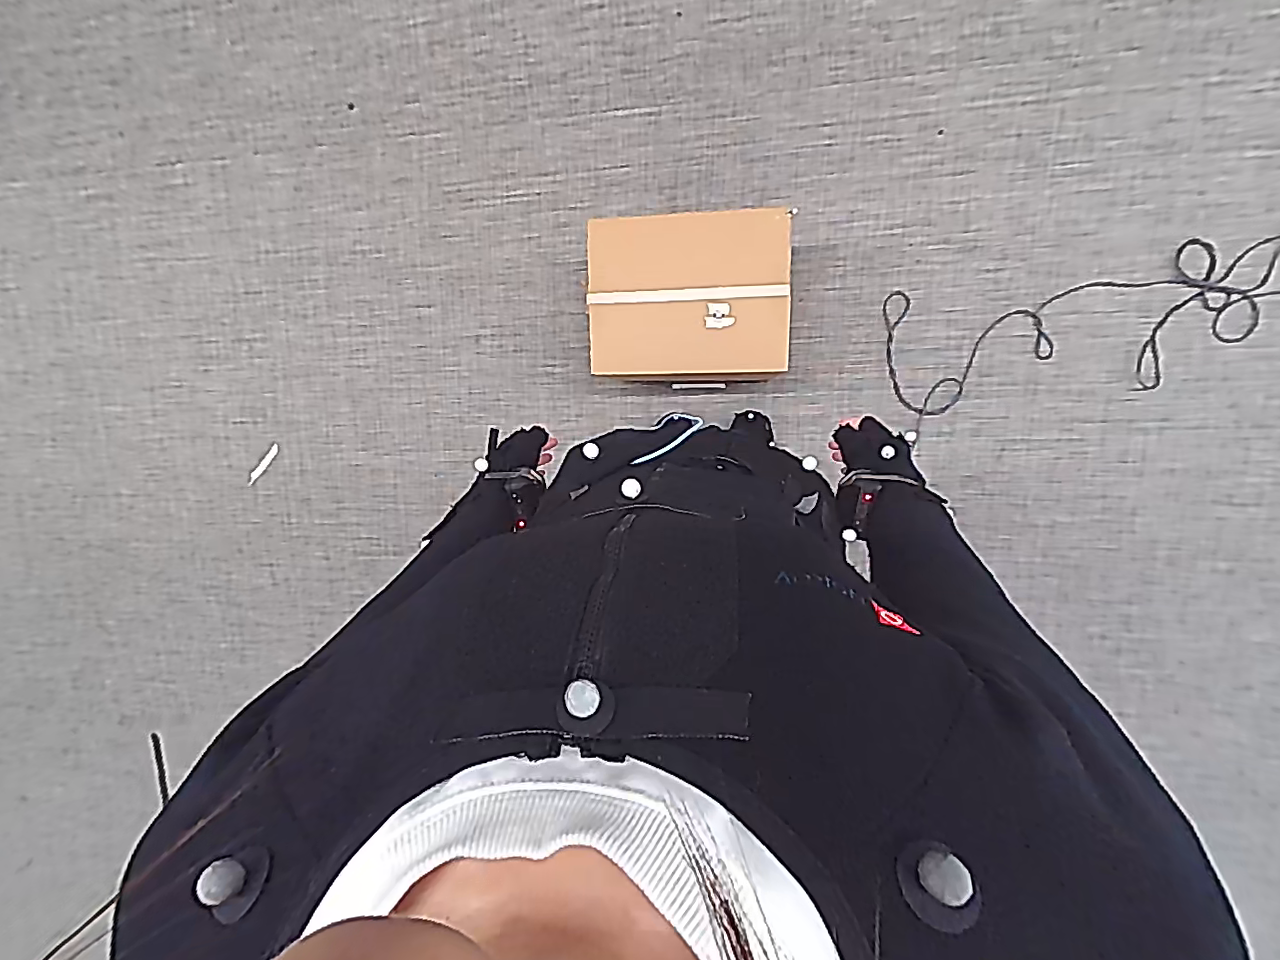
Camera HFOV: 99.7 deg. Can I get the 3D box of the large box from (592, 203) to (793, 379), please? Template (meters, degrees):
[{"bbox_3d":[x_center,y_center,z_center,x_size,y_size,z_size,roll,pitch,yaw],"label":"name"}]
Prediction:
[{"bbox_3d":[0.121,-0.401,1.232,0.408,0.320,0.320,1,99,8],"label":"large box"}]

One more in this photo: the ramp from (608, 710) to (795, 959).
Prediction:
[{"bbox_3d":[0.159,1.168,1.501,0.509,0.206,0.991,1,97,10],"label":"ramp"}]
